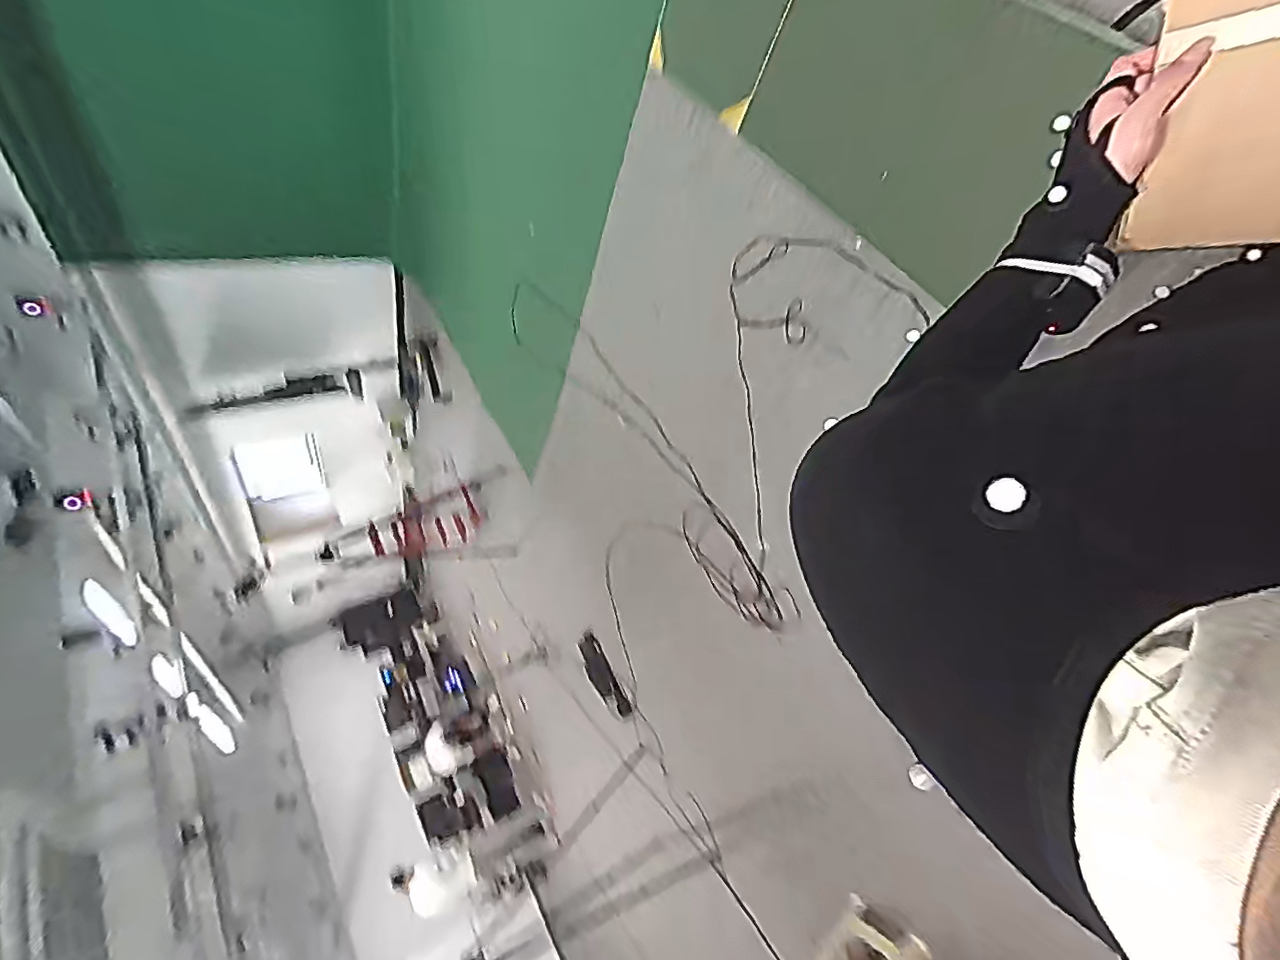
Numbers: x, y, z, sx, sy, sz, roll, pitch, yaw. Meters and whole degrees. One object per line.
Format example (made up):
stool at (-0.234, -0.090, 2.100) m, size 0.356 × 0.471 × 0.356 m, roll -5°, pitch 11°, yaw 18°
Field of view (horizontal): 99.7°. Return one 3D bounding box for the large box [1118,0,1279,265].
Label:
large box at (0.686, -0.362, 0.432) m, size 0.408 × 0.320 × 0.320 m, roll 14°, pitch 118°, yaw 43°
